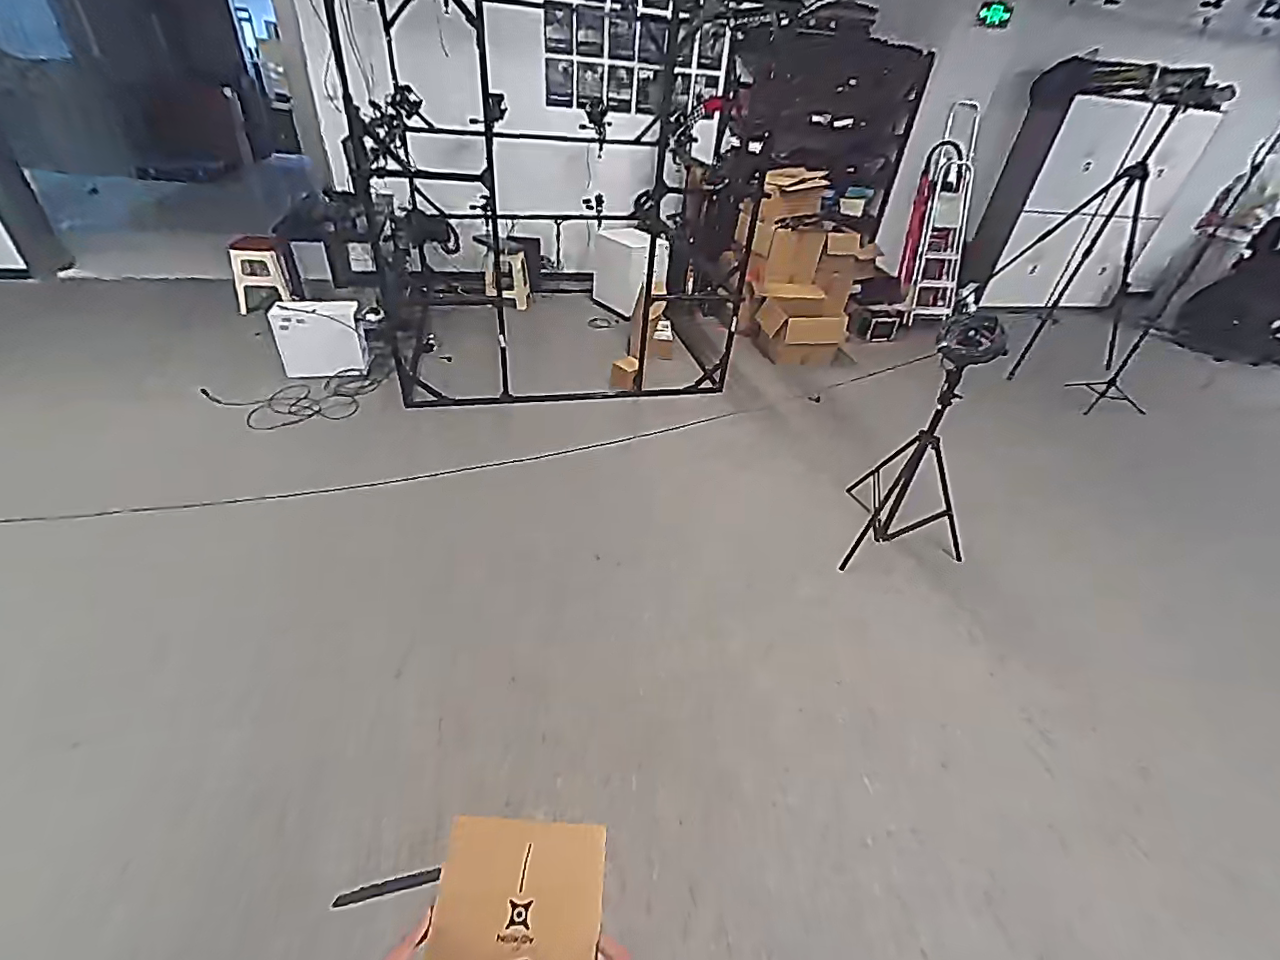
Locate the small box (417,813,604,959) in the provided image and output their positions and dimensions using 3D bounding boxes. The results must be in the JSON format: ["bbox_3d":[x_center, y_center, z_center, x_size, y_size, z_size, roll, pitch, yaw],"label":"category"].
[{"bbox_3d":[-0.137,0.475,0.587,0.168,0.176,0.179,9,53,-7],"label":"small box"}]
